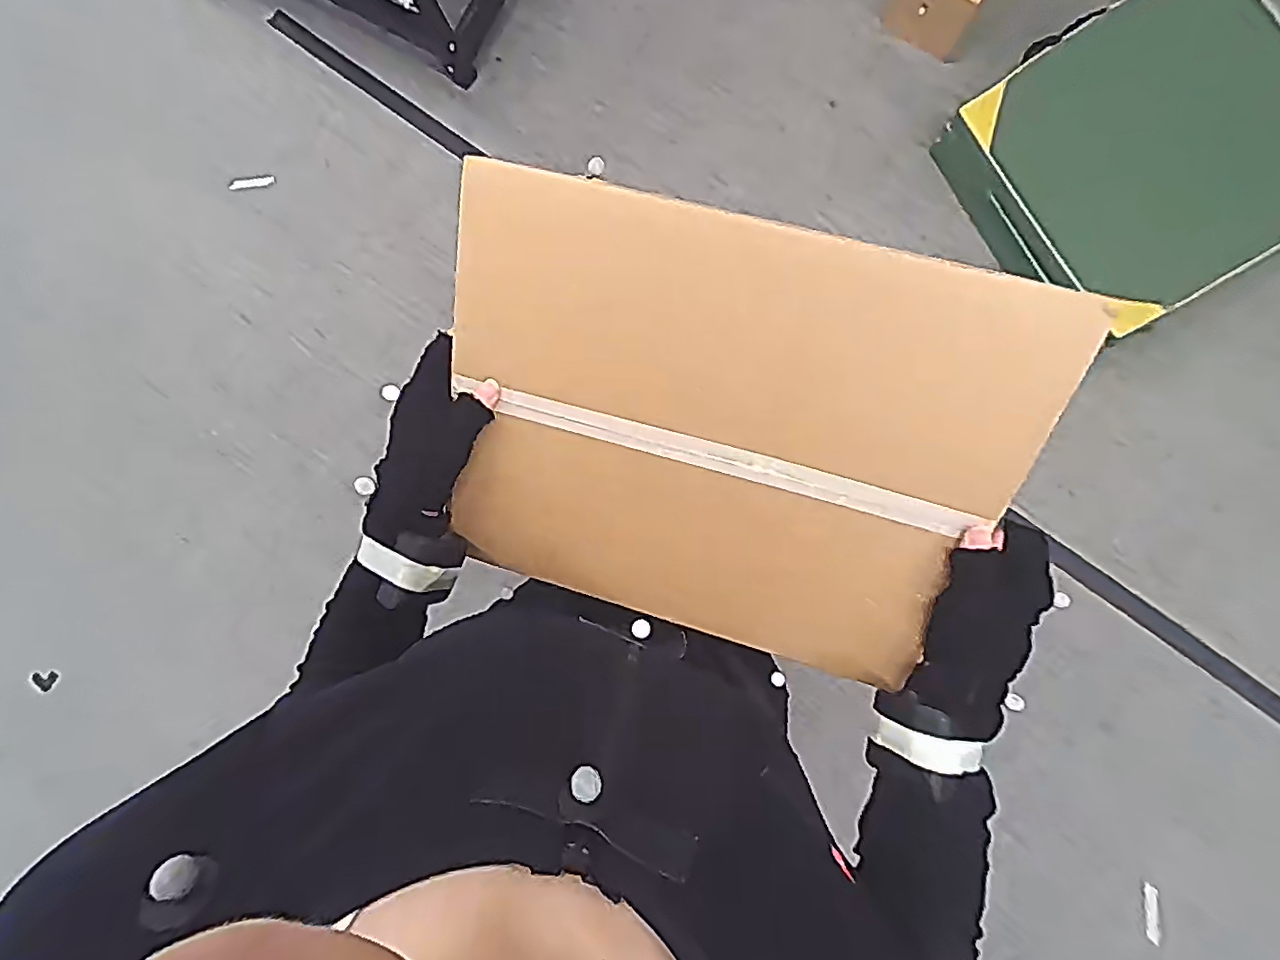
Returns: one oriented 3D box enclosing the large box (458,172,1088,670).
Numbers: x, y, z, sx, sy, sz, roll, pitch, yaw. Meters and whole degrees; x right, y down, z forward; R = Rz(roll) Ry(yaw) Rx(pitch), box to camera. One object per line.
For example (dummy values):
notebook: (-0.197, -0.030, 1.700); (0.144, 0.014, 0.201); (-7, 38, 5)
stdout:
large box: (0.080, -0.084, 0.540); (0.408, 0.320, 0.320); (16, 117, 7)
